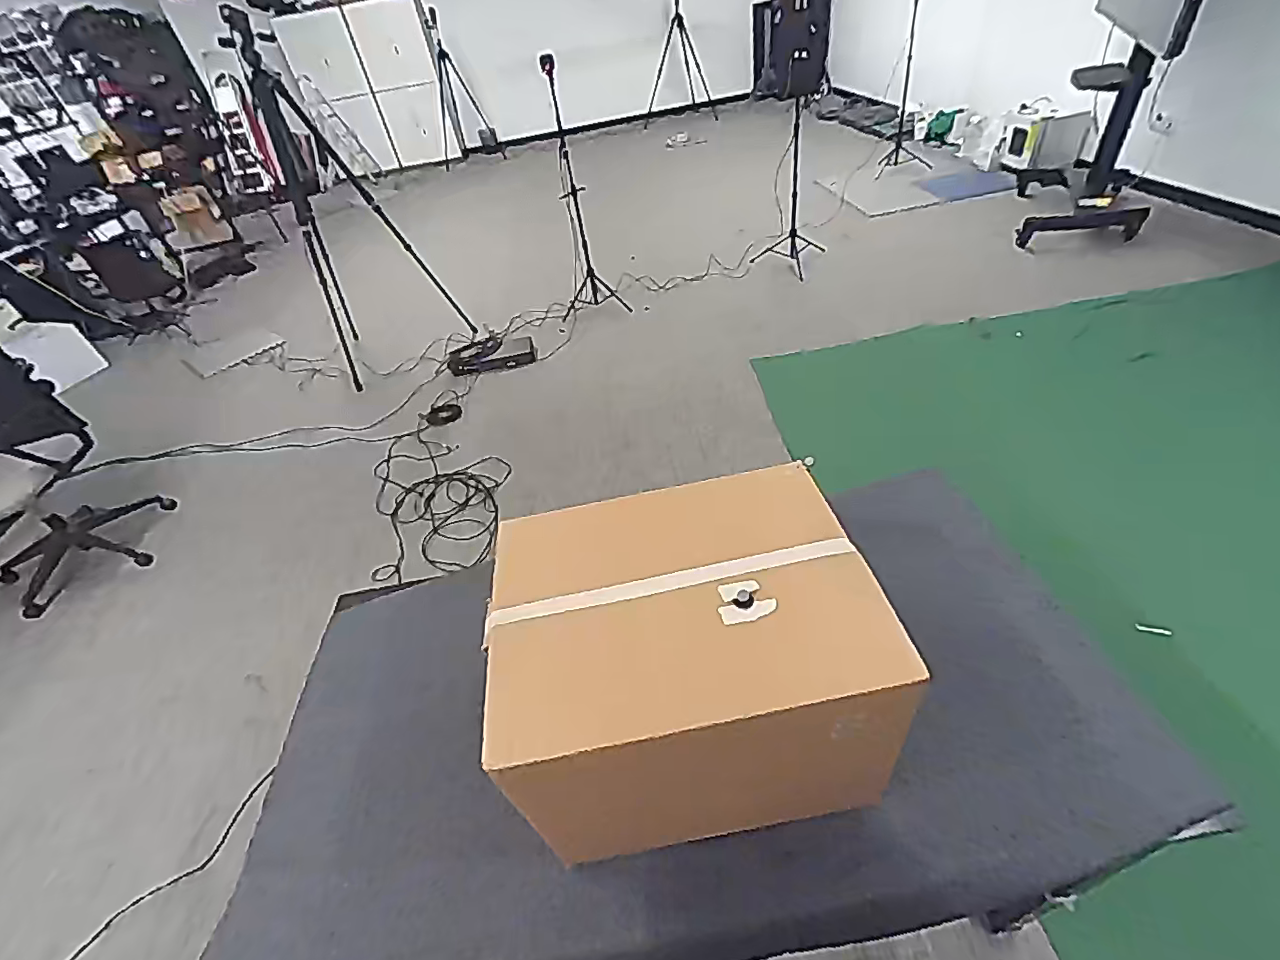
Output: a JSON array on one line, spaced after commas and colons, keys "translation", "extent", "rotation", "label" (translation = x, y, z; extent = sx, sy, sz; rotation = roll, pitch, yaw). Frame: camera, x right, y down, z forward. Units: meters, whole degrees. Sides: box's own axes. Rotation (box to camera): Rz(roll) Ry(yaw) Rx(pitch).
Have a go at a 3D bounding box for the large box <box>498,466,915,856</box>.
[{"translation": [0.060, 0.229, 0.701], "extent": [0.408, 0.320, 0.320], "rotation": [-12, 42, -1], "label": "large box"}]
